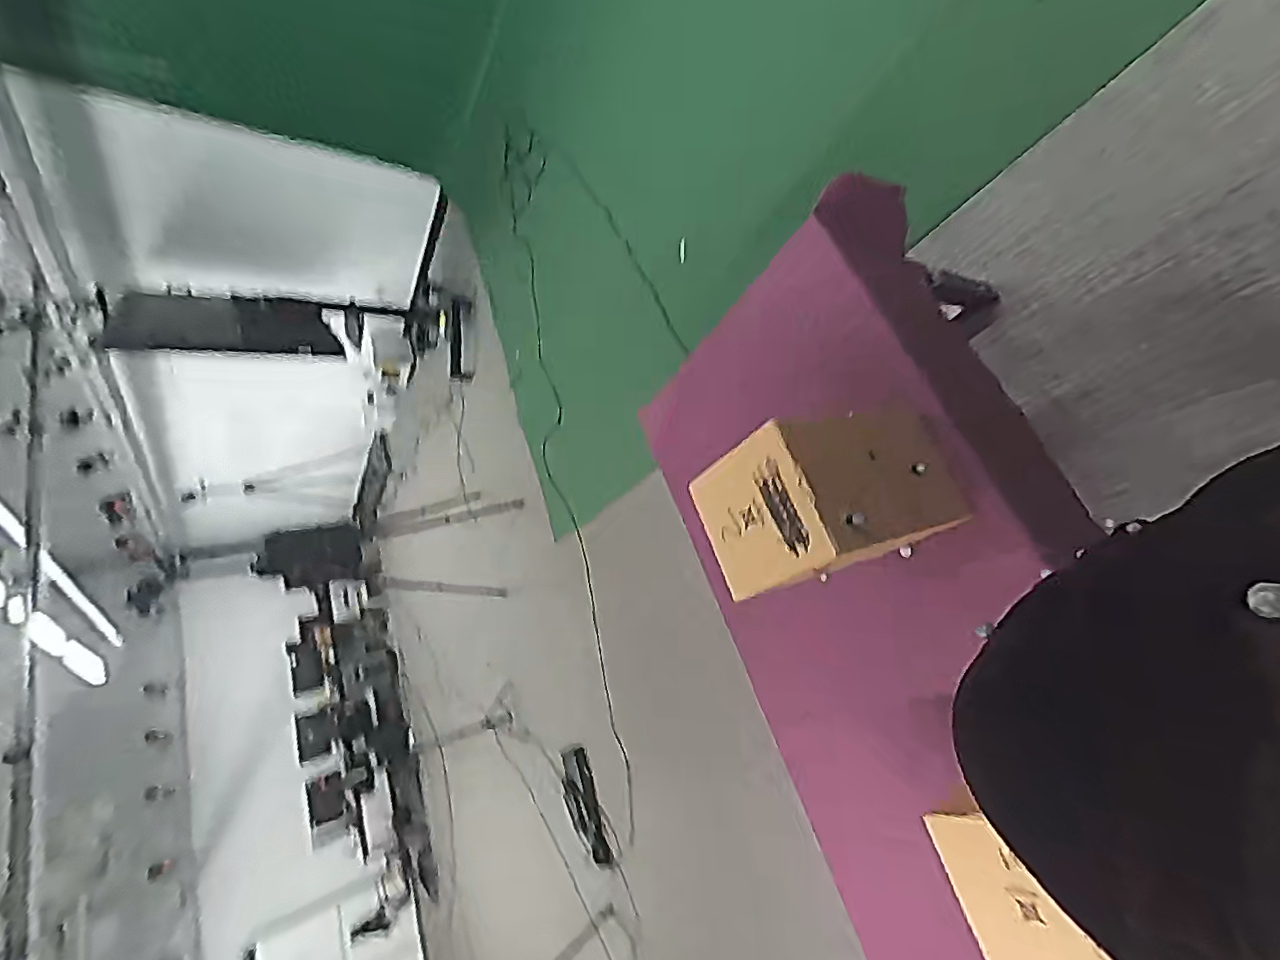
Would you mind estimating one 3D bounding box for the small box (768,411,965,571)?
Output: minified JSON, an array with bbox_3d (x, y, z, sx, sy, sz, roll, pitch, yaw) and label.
[{"bbox_3d":[0.328,0.014,0.791,0.168,0.176,0.179,-42,63,48],"label":"small box"}]
